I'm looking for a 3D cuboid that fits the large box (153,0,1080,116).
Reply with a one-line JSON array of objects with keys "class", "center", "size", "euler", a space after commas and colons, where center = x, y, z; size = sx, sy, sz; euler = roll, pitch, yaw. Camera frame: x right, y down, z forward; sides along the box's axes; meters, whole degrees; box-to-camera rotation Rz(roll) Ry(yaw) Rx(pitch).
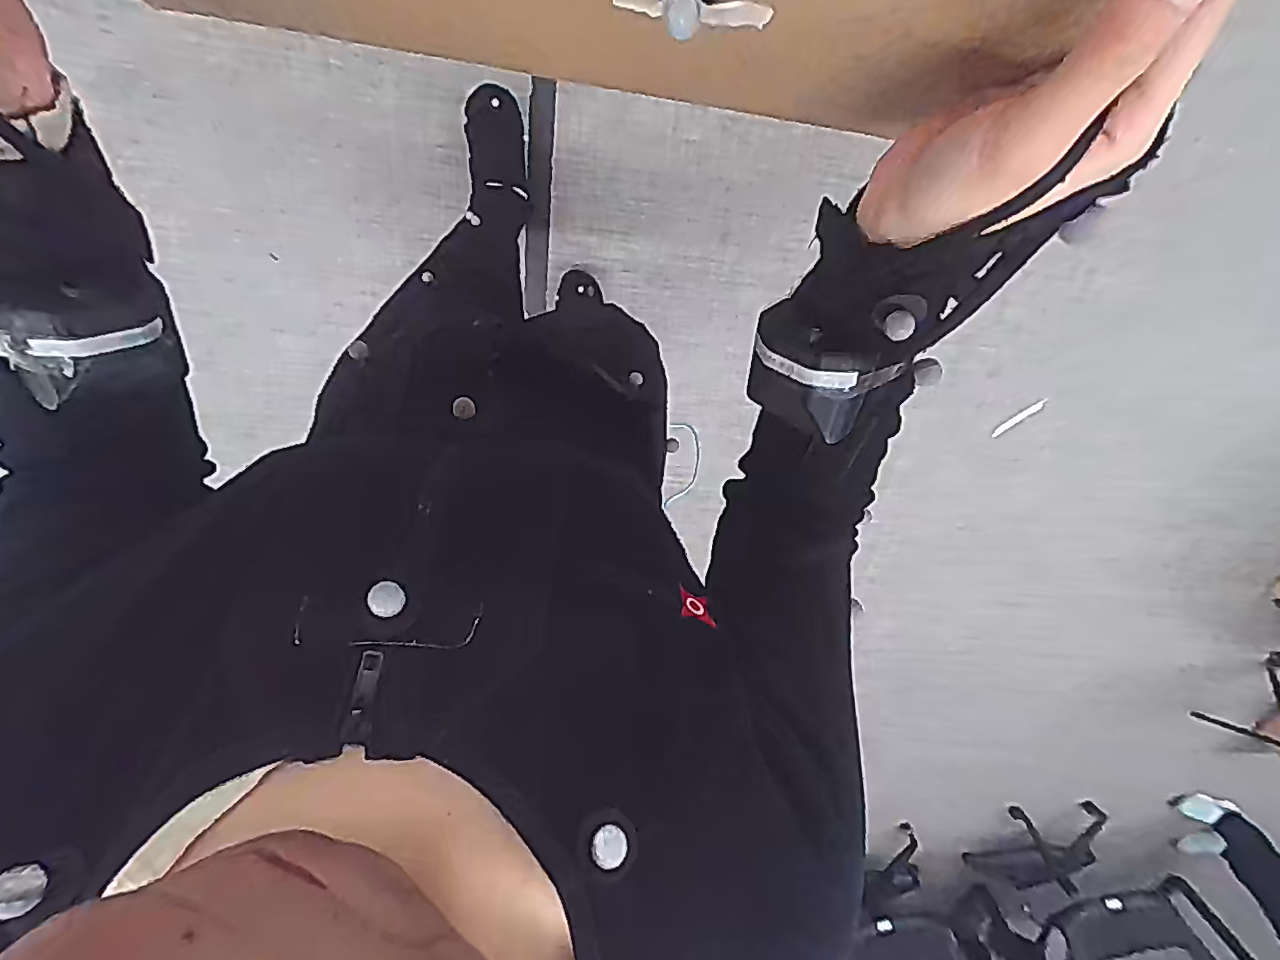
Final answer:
[{"class": "large box", "center": [-0.033, -0.320, 0.095], "size": [0.408, 0.320, 0.320], "euler": [8, 107, -1]}]
